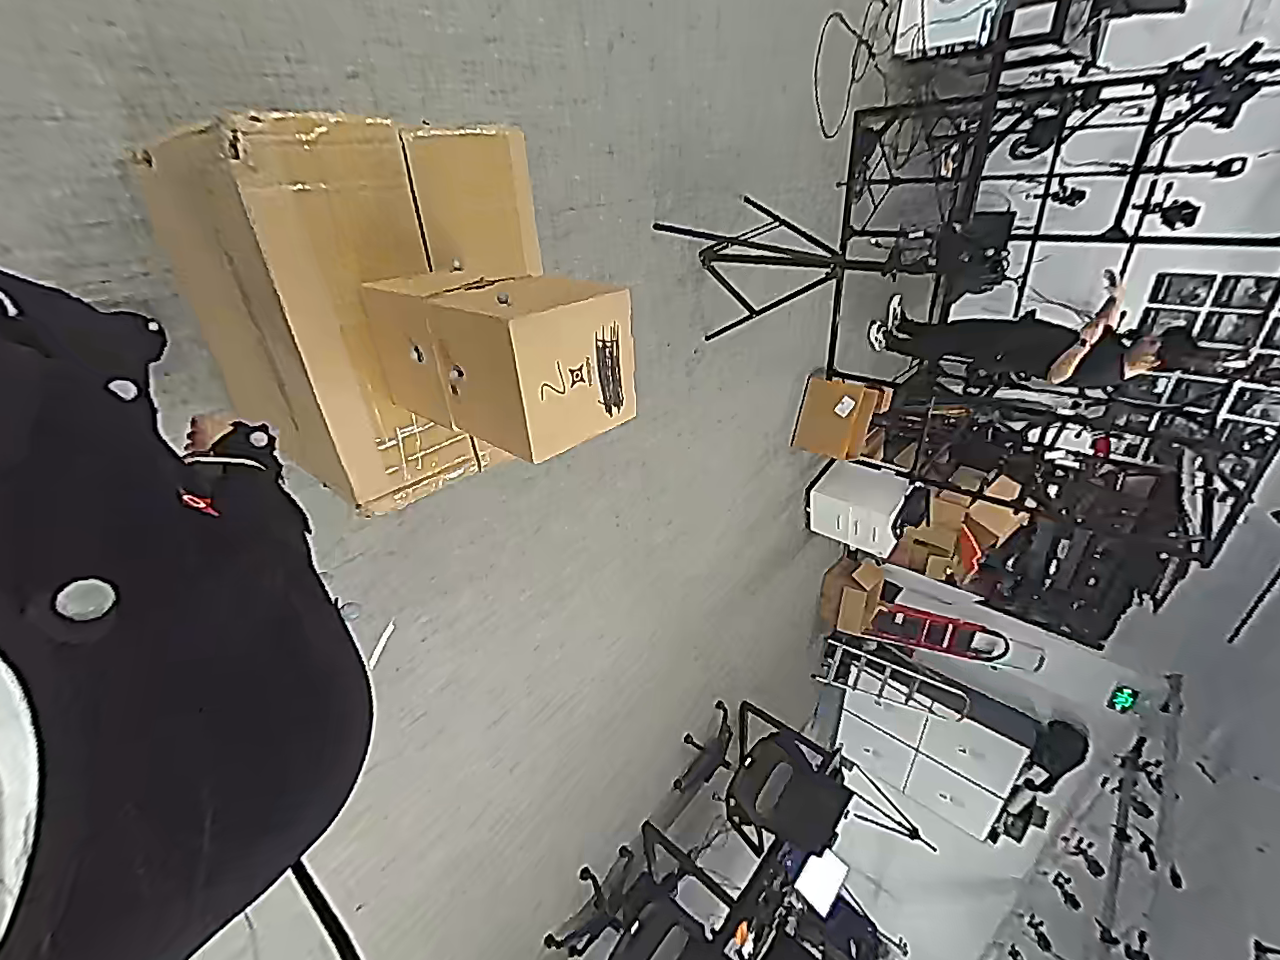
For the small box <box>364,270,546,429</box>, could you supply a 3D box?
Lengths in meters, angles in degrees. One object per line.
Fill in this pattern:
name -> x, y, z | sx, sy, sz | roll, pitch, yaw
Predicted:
small box -> -0.257, -0.194, 0.761 | 0.168, 0.176, 0.179 | -30, 130, -39
